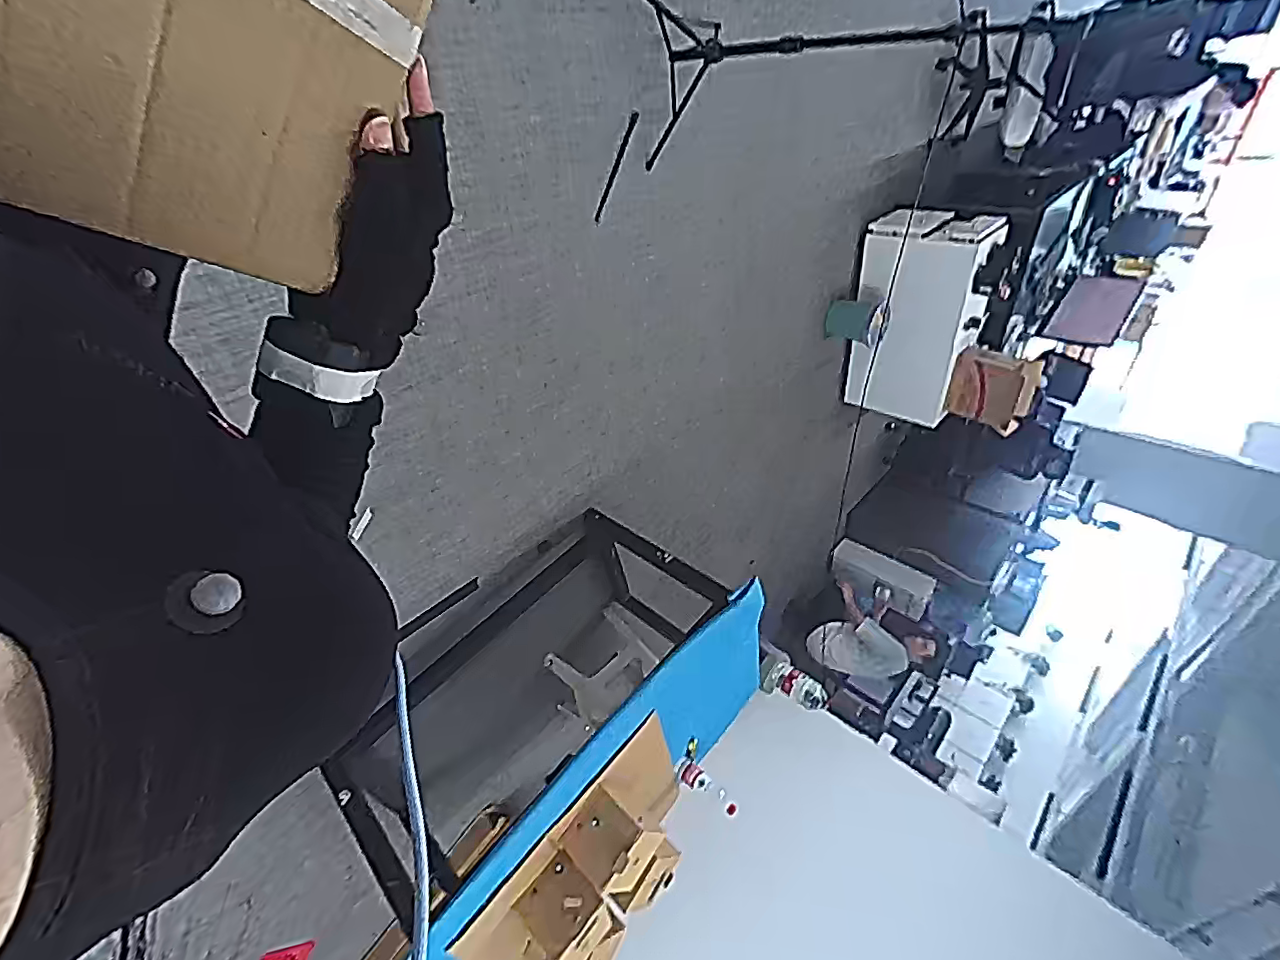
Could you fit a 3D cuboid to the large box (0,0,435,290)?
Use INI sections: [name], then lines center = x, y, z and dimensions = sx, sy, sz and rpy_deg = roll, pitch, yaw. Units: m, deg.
[large box]
center = -0.344, -0.348, 0.238
dimensions = 0.408, 0.320, 0.320
rpy_deg = 5, 127, -51
